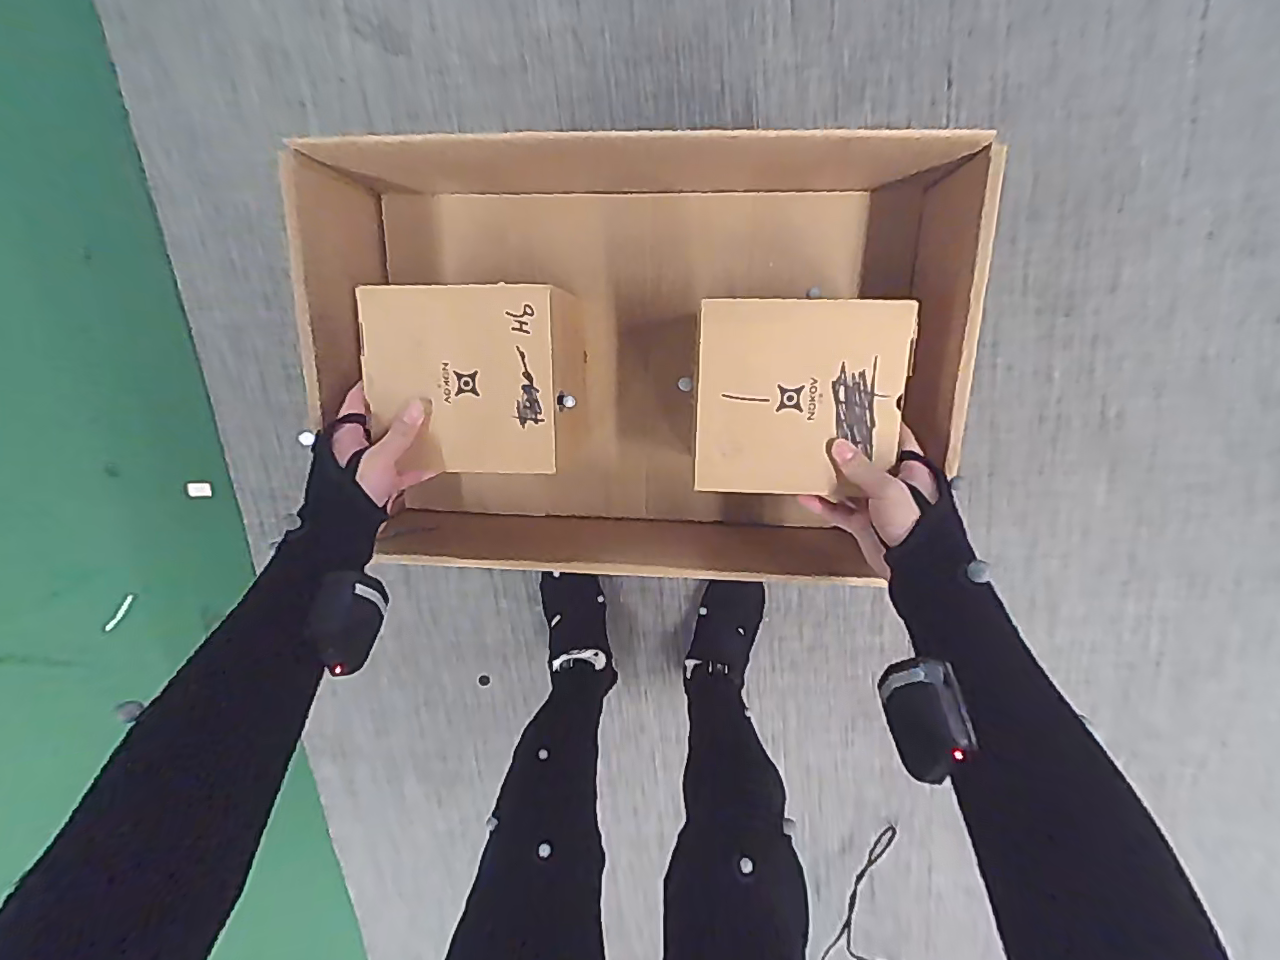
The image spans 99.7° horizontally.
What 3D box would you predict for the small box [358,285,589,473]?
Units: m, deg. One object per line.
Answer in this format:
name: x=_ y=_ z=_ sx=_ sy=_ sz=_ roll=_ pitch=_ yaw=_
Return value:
small box: x=-0.157 y=-0.105 z=0.564 sx=0.179 sy=0.176 sz=0.168 roll=2 pitch=103 yaw=6
